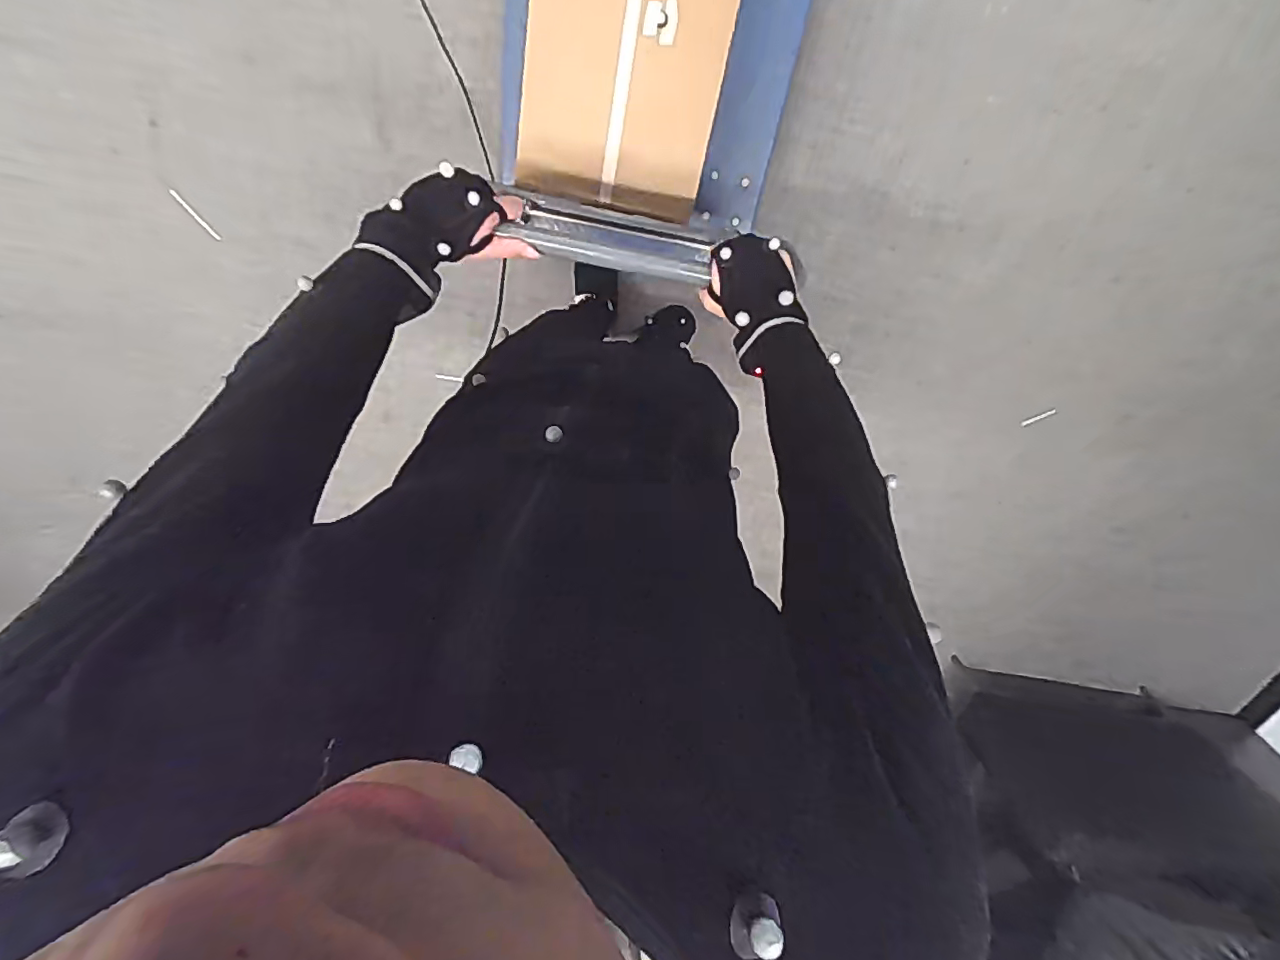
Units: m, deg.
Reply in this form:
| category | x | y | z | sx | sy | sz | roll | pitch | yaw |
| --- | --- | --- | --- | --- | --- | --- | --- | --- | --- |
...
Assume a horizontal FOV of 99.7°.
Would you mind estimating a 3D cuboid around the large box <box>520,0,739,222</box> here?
| category | x | y | z | sx | sy | sz | roll | pitch | yaw |
| --- | --- | --- | --- | --- | --- | --- | --- | --- | --- |
| large box | -0.020 | -0.720 | 0.990 | 0.320 | 0.320 | 0.408 | 10 | 117 | -5 |
